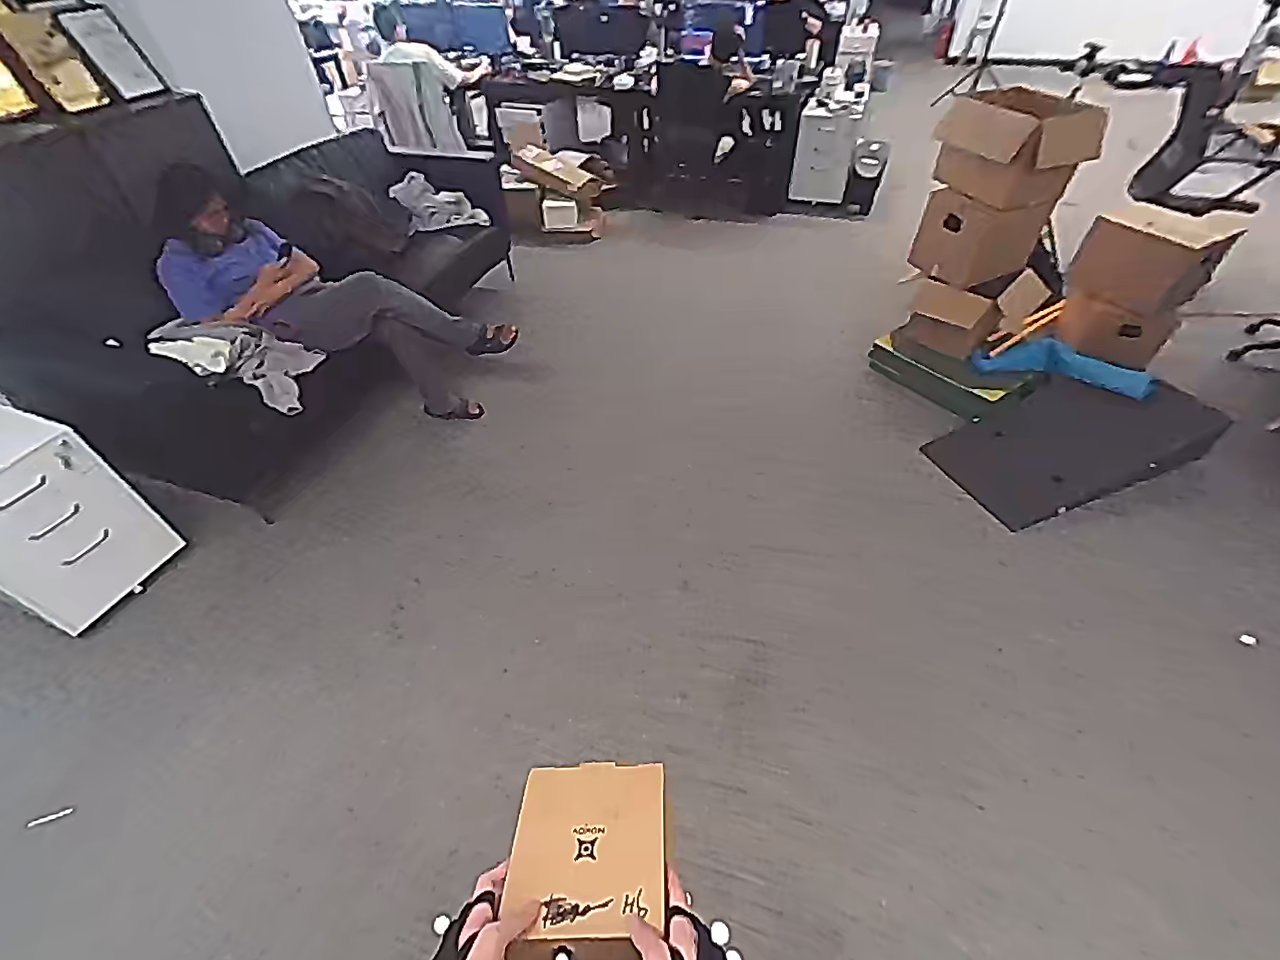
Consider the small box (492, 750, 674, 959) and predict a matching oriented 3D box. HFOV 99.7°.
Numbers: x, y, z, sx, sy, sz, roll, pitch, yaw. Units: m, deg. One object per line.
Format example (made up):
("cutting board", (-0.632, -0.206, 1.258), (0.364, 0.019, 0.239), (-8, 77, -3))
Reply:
("small box", (-0.051, 0.445, 0.624), (0.168, 0.176, 0.179), (-5, 28, 5))
